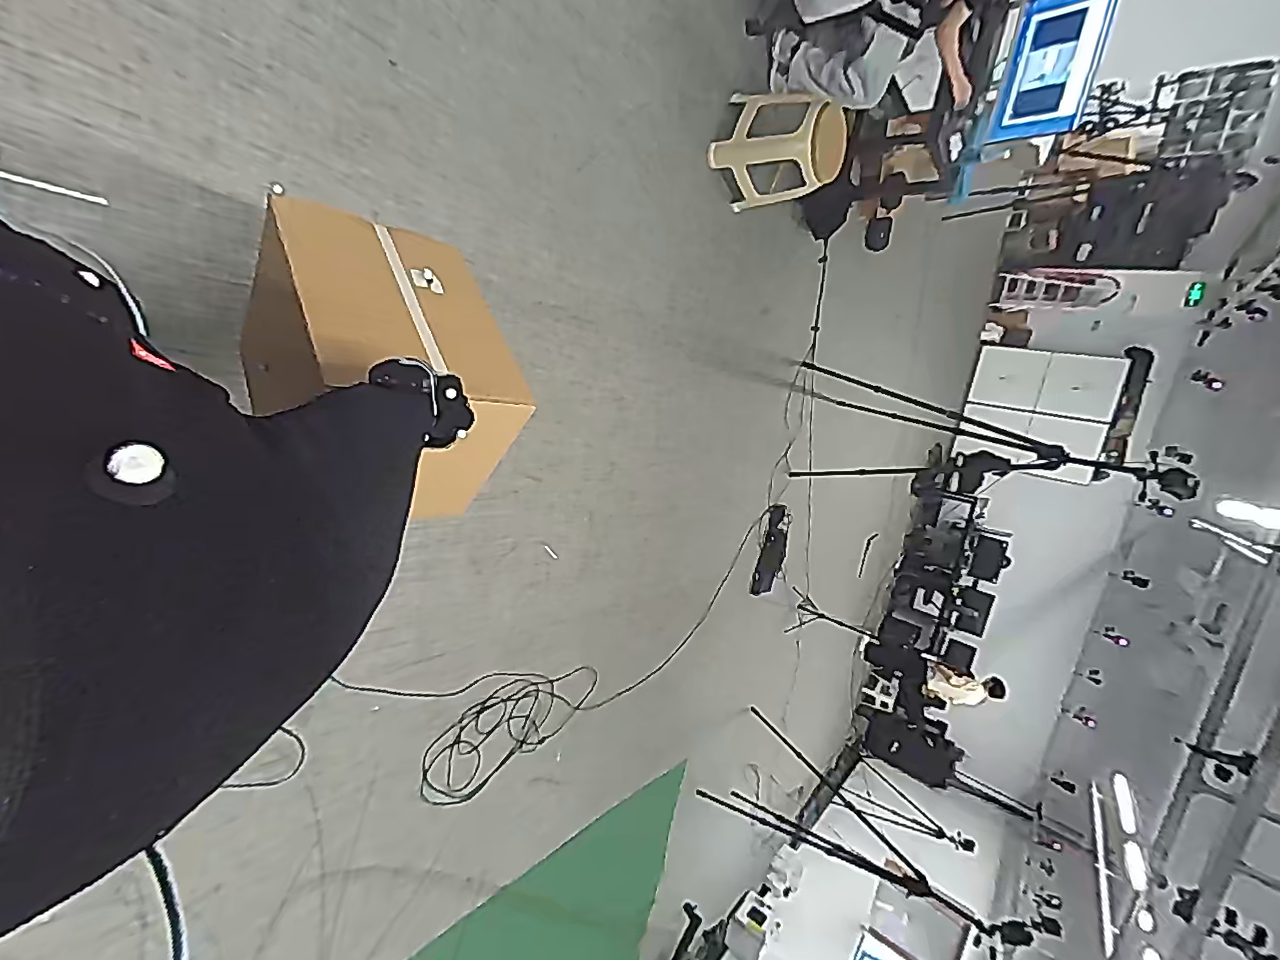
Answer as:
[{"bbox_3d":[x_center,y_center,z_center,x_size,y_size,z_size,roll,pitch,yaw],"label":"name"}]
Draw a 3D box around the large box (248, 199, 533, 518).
[{"bbox_3d":[-0.450,-0.189,0.942,0.320,0.408,0.320,-2,144,-46],"label":"large box"}]
